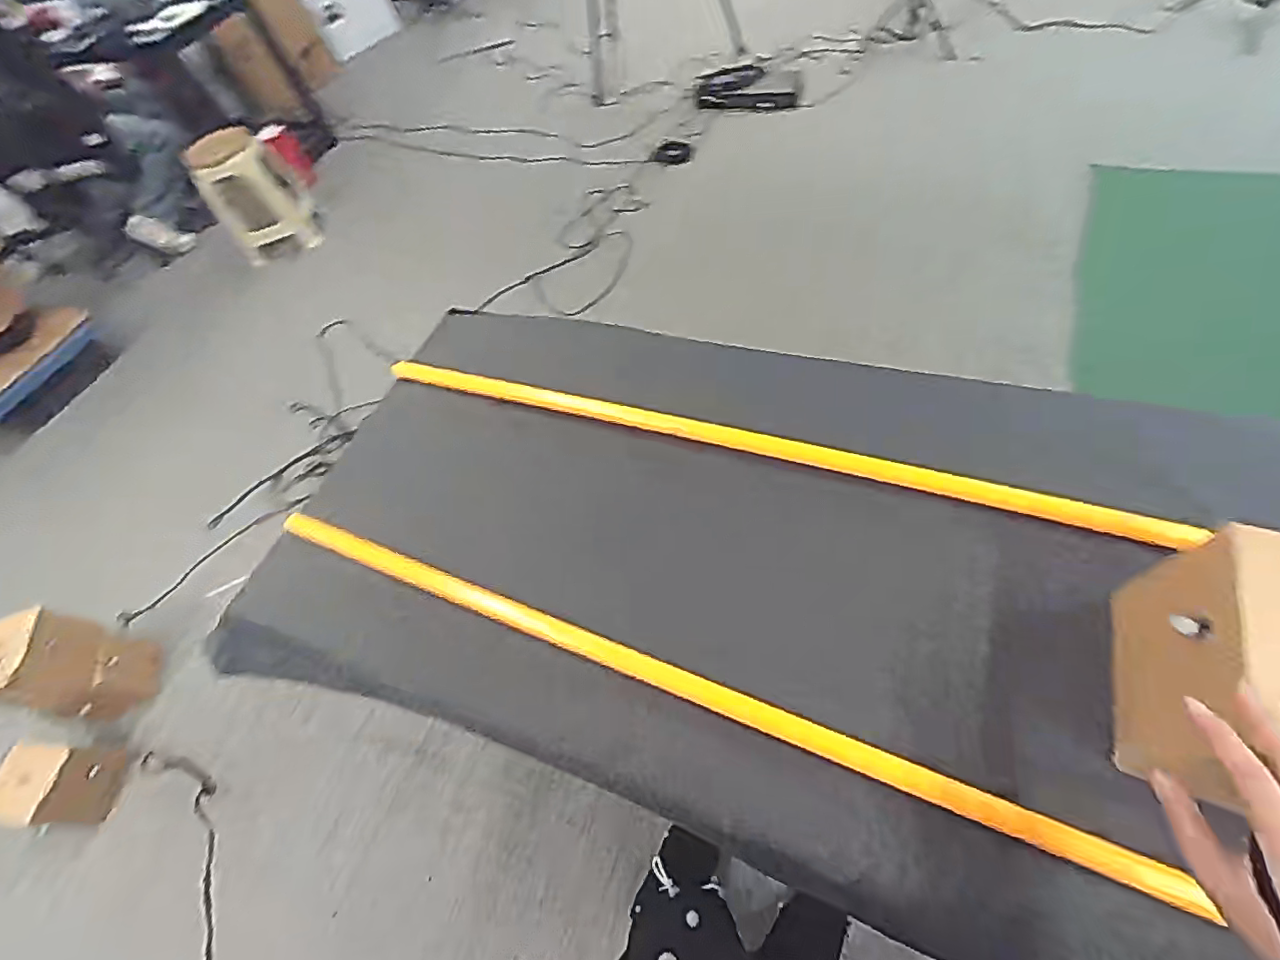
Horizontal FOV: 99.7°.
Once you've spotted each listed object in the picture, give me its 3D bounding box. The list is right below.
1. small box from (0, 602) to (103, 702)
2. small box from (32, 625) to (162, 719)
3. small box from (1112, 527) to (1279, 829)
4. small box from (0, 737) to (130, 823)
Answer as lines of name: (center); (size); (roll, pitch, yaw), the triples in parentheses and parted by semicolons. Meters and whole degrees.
small box: (-1.510, 0.438, 1.349); (0.168, 0.176, 0.179); (-21, 55, -3)
small box: (-1.475, 0.531, 1.480); (0.179, 0.176, 0.168); (-26, 56, -5)
small box: (0.509, 0.168, 0.420); (0.168, 0.176, 0.179); (15, 62, 21)
small box: (-1.448, 0.746, 1.343); (0.179, 0.176, 0.168); (0, 57, 12)
